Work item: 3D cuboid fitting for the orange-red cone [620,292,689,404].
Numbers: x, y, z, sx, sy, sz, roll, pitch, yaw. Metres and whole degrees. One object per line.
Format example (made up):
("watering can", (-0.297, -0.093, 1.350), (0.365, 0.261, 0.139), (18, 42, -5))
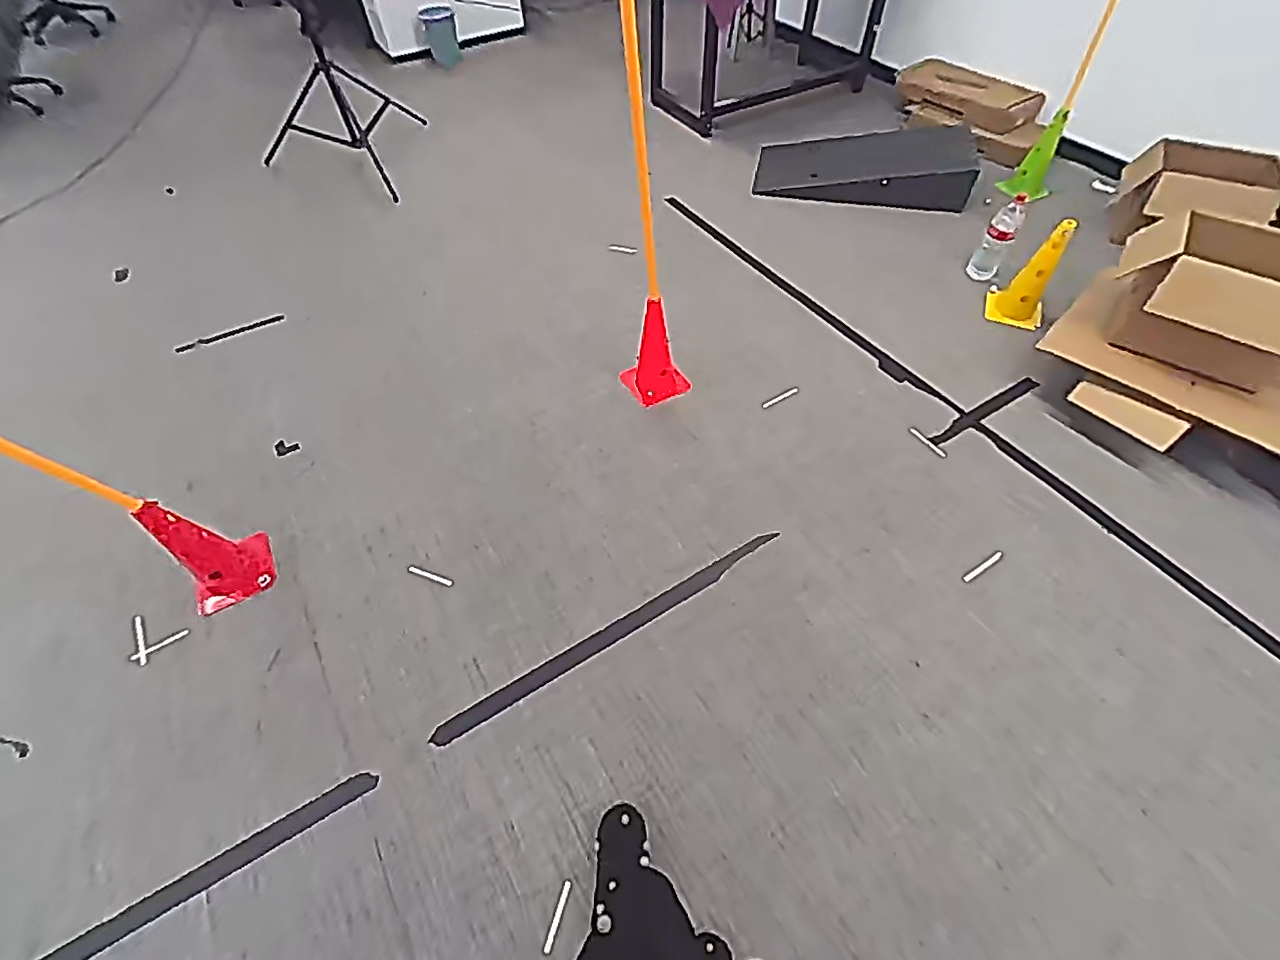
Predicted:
("orange-red cone", (0.048, -0.459, 1.785), (0.199, 0.360, 0.198), (-24, 58, -16))
